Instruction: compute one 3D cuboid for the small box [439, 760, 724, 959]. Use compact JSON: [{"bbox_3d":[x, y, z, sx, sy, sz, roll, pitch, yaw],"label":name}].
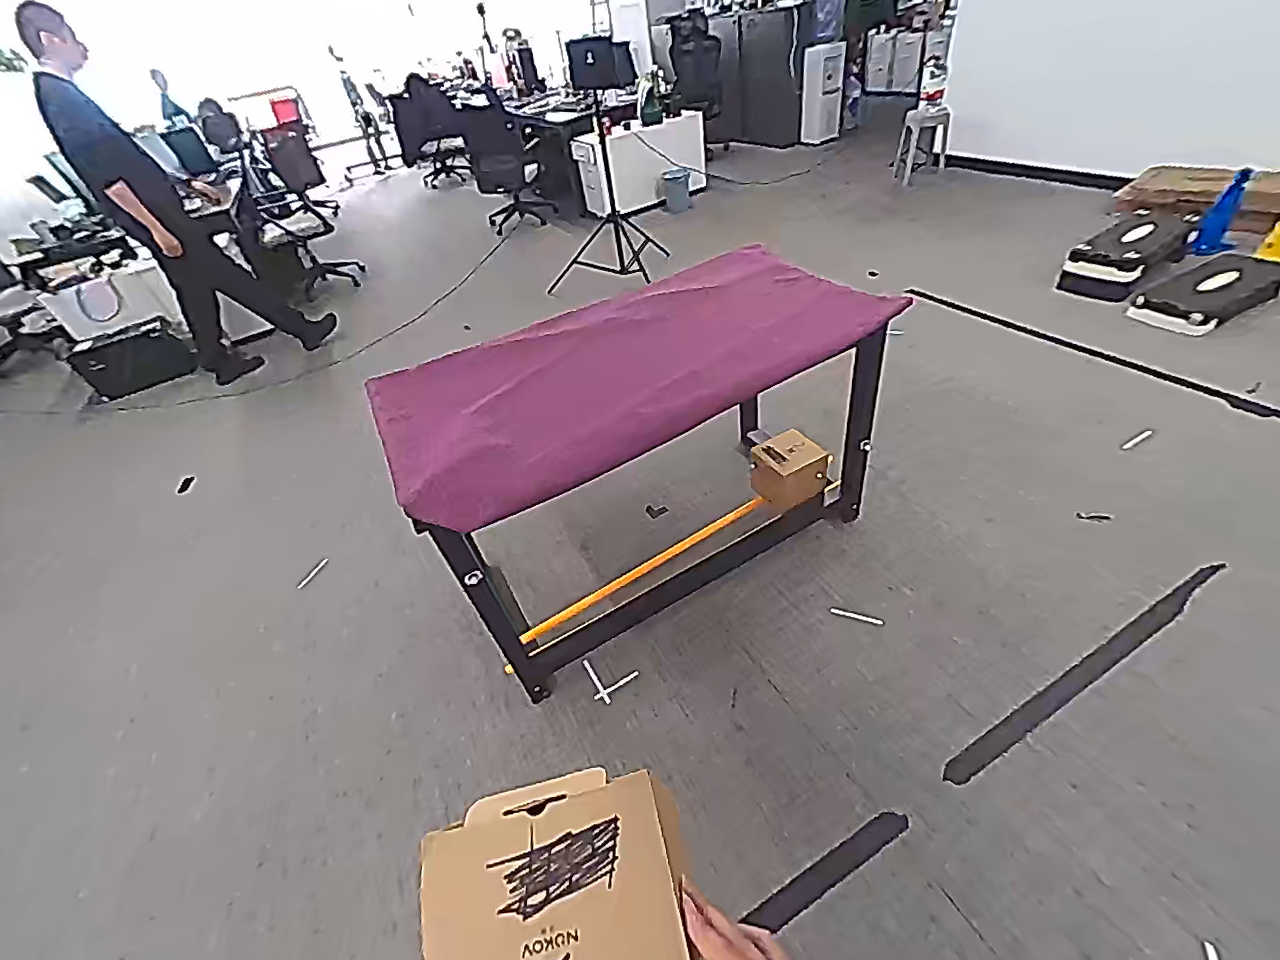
[{"bbox_3d":[-0.031,0.328,0.391,0.168,0.176,0.179,-15,55,-1],"label":"small box"}]
